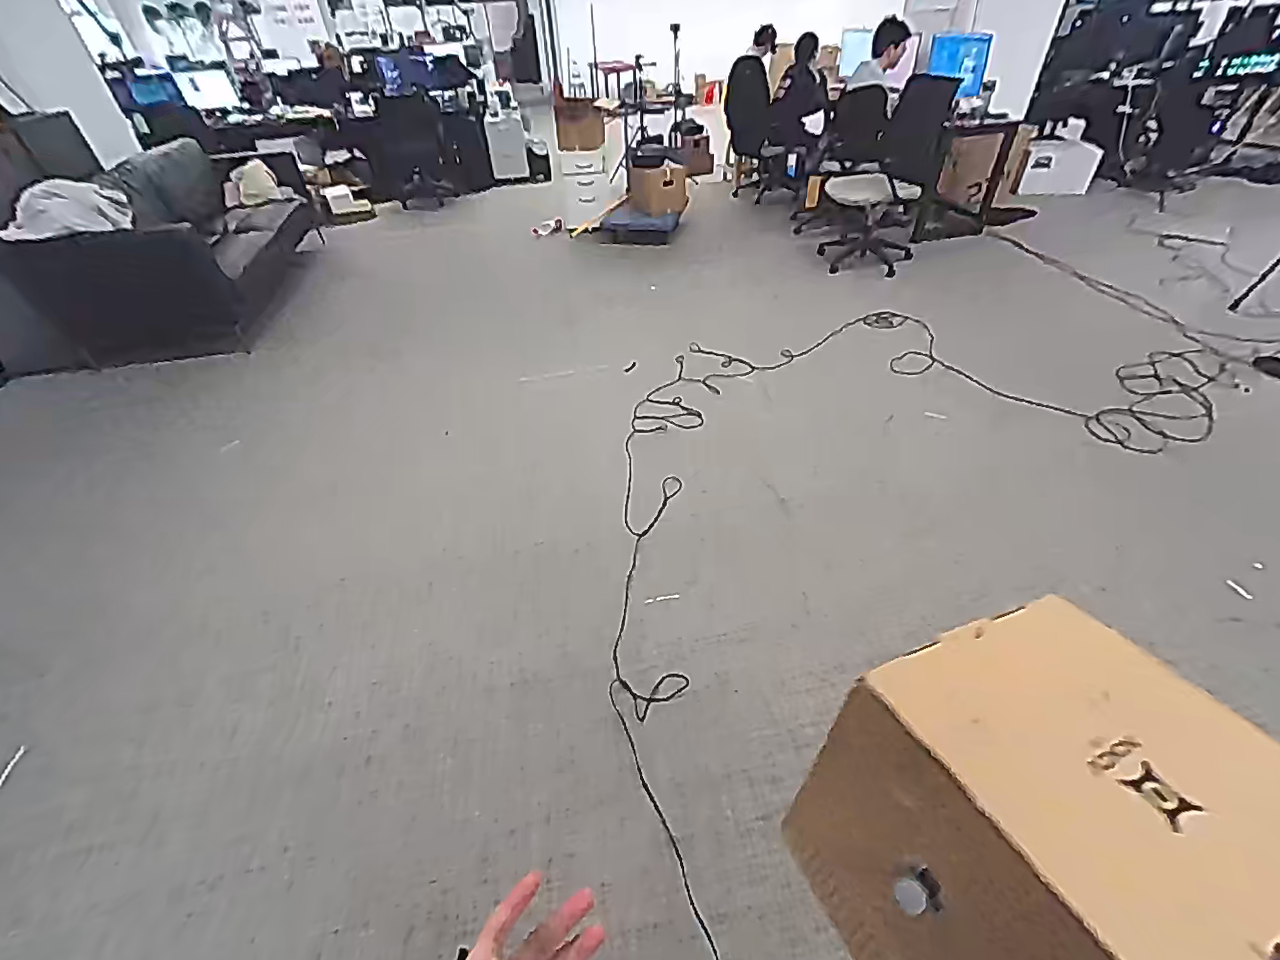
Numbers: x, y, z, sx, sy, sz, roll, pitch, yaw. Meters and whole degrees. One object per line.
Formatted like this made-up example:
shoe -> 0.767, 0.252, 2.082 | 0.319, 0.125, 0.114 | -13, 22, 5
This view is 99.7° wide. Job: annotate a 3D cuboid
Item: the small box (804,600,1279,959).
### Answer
small box -> 0.216, 0.199, 0.287 | 0.168, 0.176, 0.179 | -11, 37, -23
